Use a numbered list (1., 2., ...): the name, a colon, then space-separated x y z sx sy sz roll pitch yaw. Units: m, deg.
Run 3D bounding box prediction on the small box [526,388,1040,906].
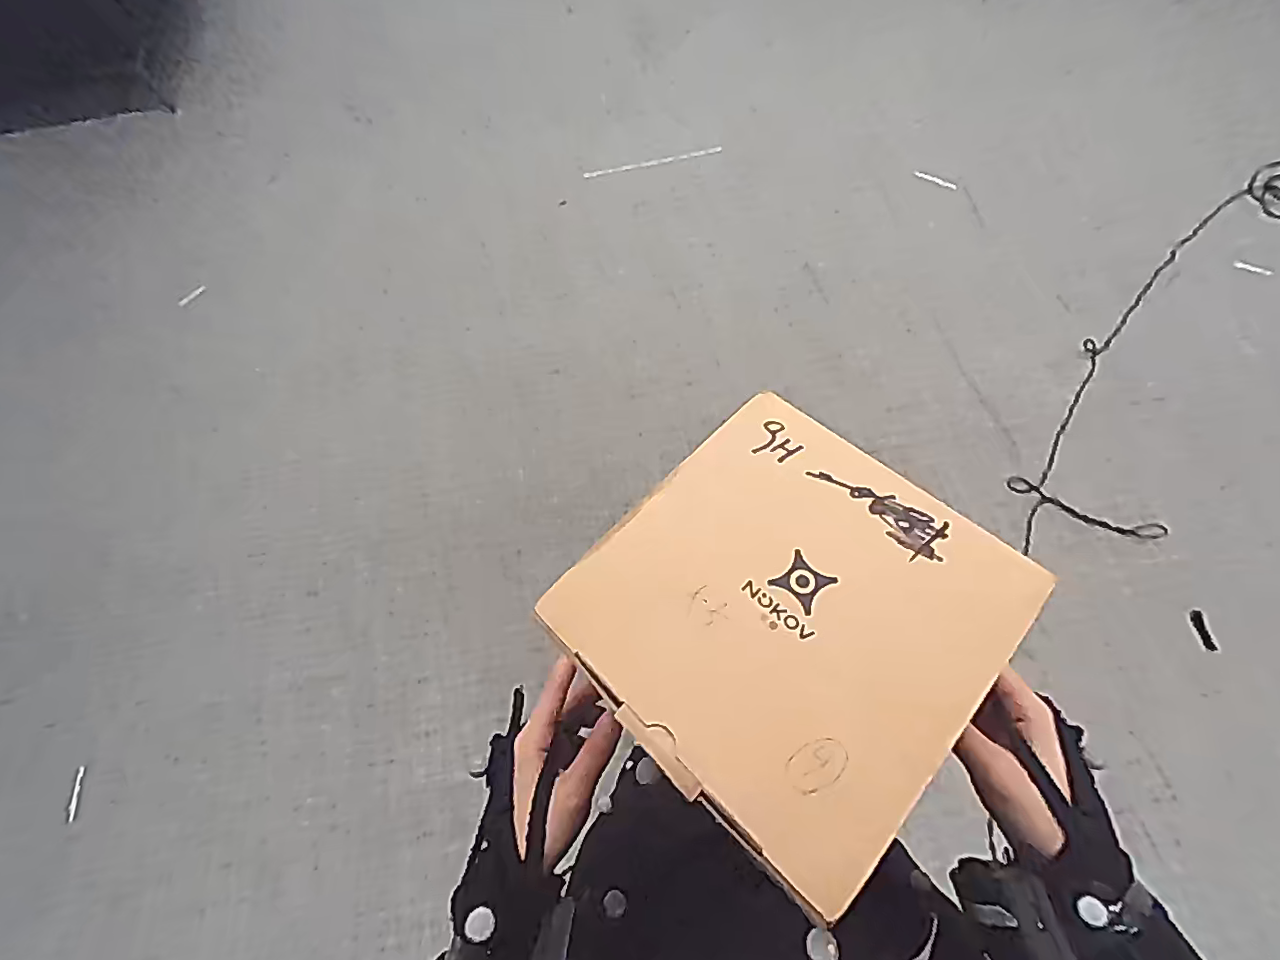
1. small box: 0.069 0.089 0.315 0.168 0.176 0.179 39 71 24
